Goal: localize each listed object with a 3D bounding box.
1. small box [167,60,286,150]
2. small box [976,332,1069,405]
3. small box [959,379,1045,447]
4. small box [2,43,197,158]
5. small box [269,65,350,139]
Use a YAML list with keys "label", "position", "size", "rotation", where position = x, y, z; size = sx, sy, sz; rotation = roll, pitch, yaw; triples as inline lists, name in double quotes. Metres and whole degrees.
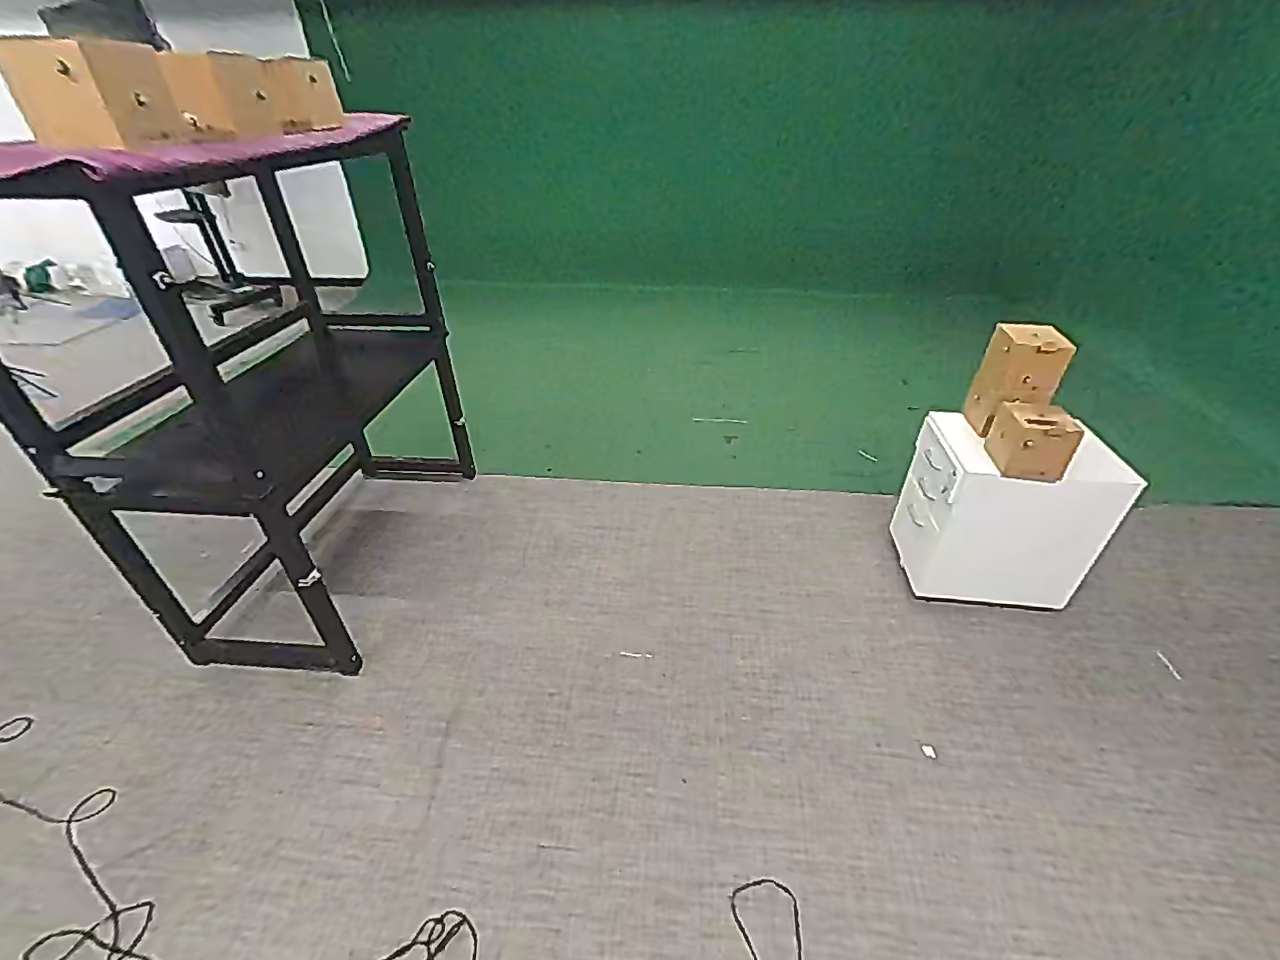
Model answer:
- label: "small box"
  position: [-1.003, -0.909, 1.312]
  size: [0.168, 0.176, 0.179]
  rotation: [2, 36, 4]
- label: "small box"
  position: [1.231, -0.364, 1.758]
  size: [0.168, 0.176, 0.179]
  rotation: [5, 38, 7]
- label: "small box"
  position: [1.229, -0.231, 1.853]
  size: [0.168, 0.176, 0.179]
  rotation: [4, 36, 5]
- label: "small box"
  position: [-1.023, -0.729, 1.046]
  size: [0.179, 0.176, 0.168]
  rotation: [3, 34, 3]
- label: "small box"
  position: [-0.995, -1.111, 1.597]
  size: [0.168, 0.176, 0.179]
  rotation: [2, 35, 7]
